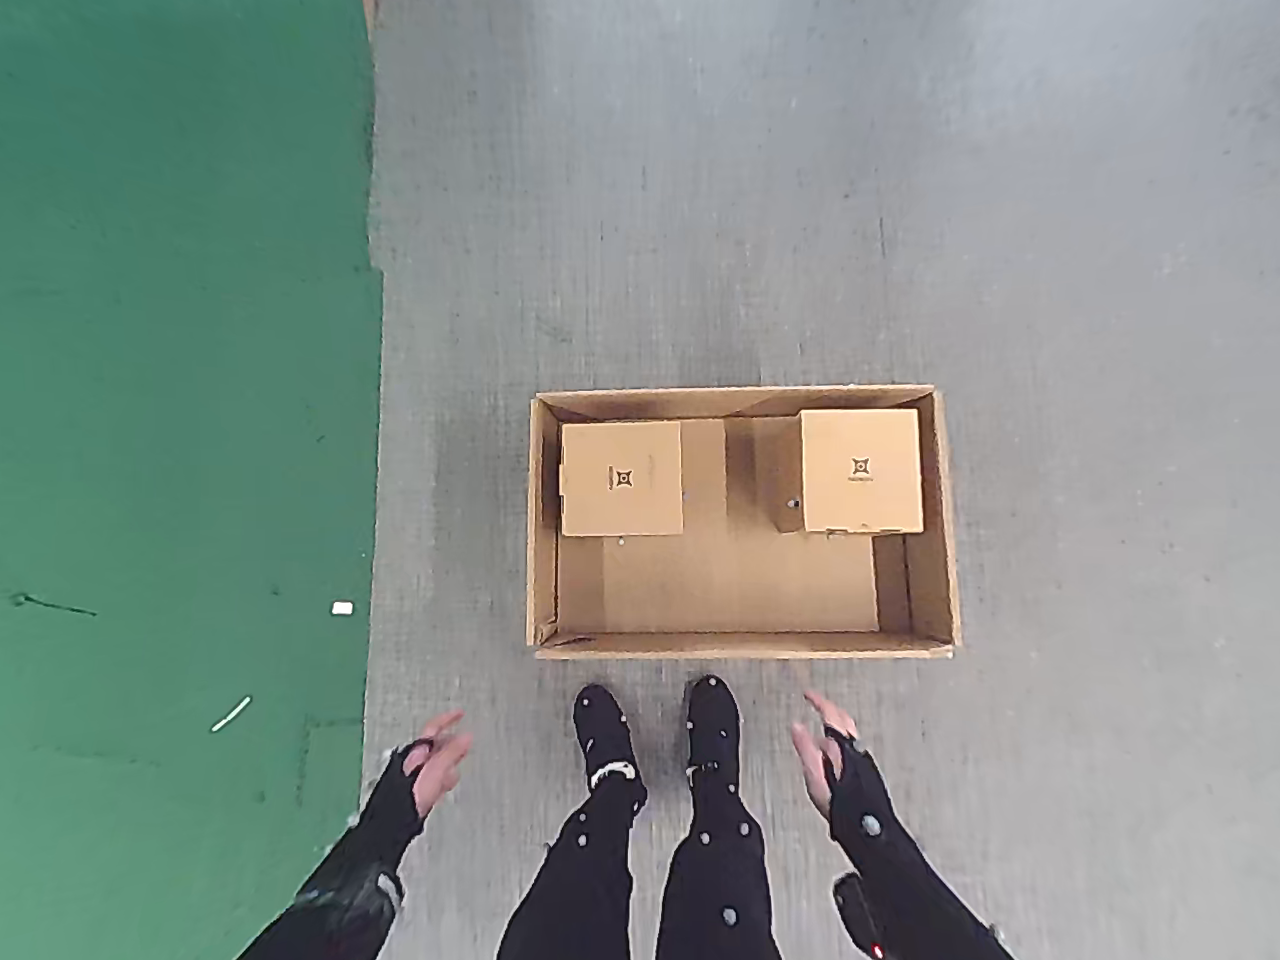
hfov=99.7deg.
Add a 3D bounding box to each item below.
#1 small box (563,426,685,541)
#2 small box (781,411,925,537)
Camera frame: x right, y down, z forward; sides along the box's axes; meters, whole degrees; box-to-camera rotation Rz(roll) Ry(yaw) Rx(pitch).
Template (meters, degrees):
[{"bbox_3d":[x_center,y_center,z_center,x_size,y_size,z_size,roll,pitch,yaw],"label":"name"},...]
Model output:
[{"bbox_3d":[-0.018,0.013,0.859,0.179,0.176,0.168,-1,83,3],"label":"small box"},{"bbox_3d":[0.318,-0.002,0.840,0.168,0.176,0.179,0,84,3],"label":"small box"}]
